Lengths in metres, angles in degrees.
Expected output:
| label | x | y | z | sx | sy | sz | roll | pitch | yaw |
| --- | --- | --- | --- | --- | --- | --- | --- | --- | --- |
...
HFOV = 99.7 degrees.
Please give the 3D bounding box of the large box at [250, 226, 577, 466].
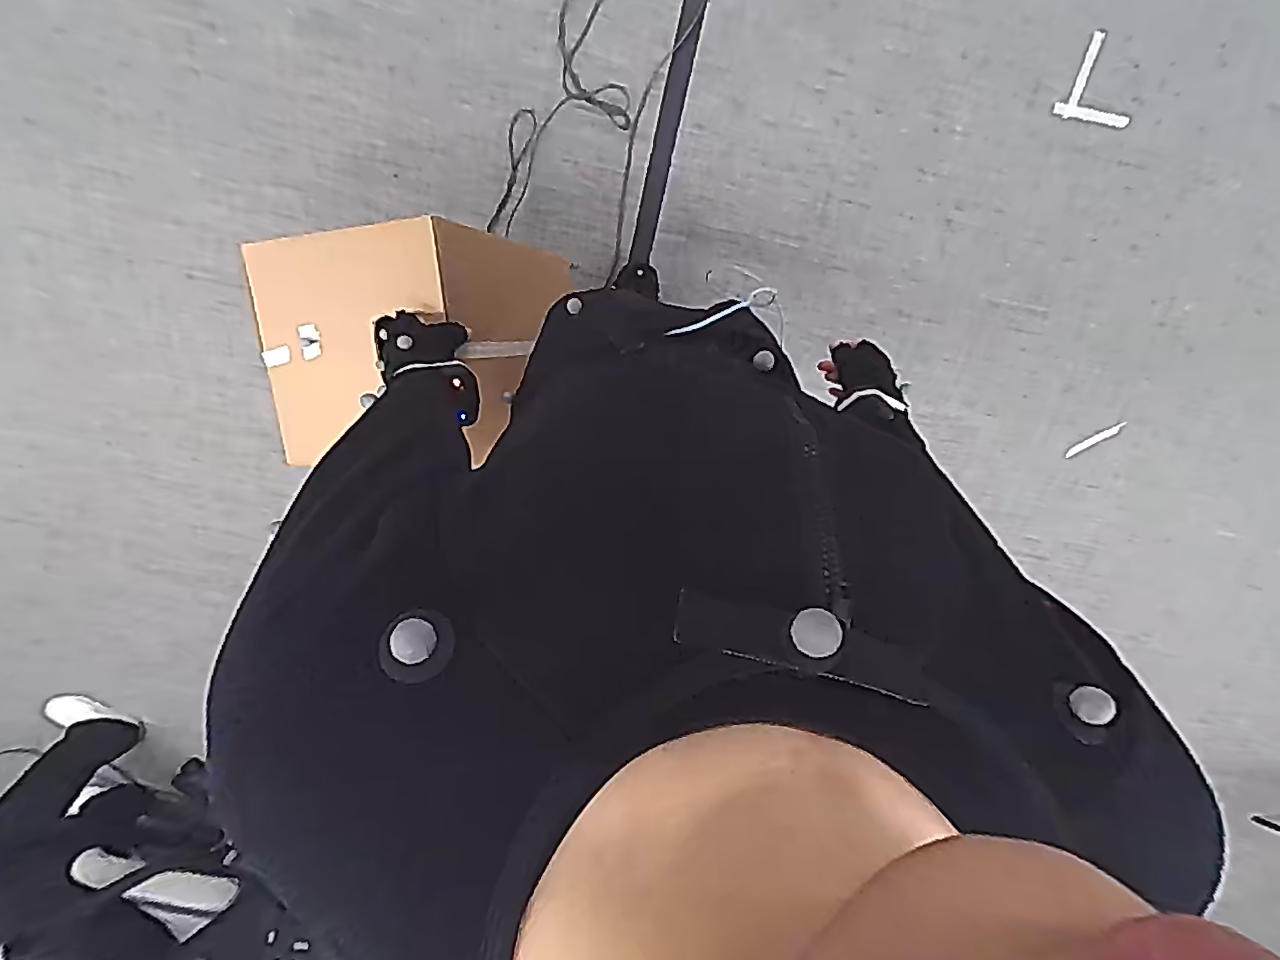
| label | x | y | z | sx | sy | sz | roll | pitch | yaw |
| --- | --- | --- | --- | --- | --- | --- | --- | --- | --- |
| large box | -0.338 | -0.217 | 0.922 | 0.320 | 0.408 | 0.320 | 2 | 105 | 17 |
